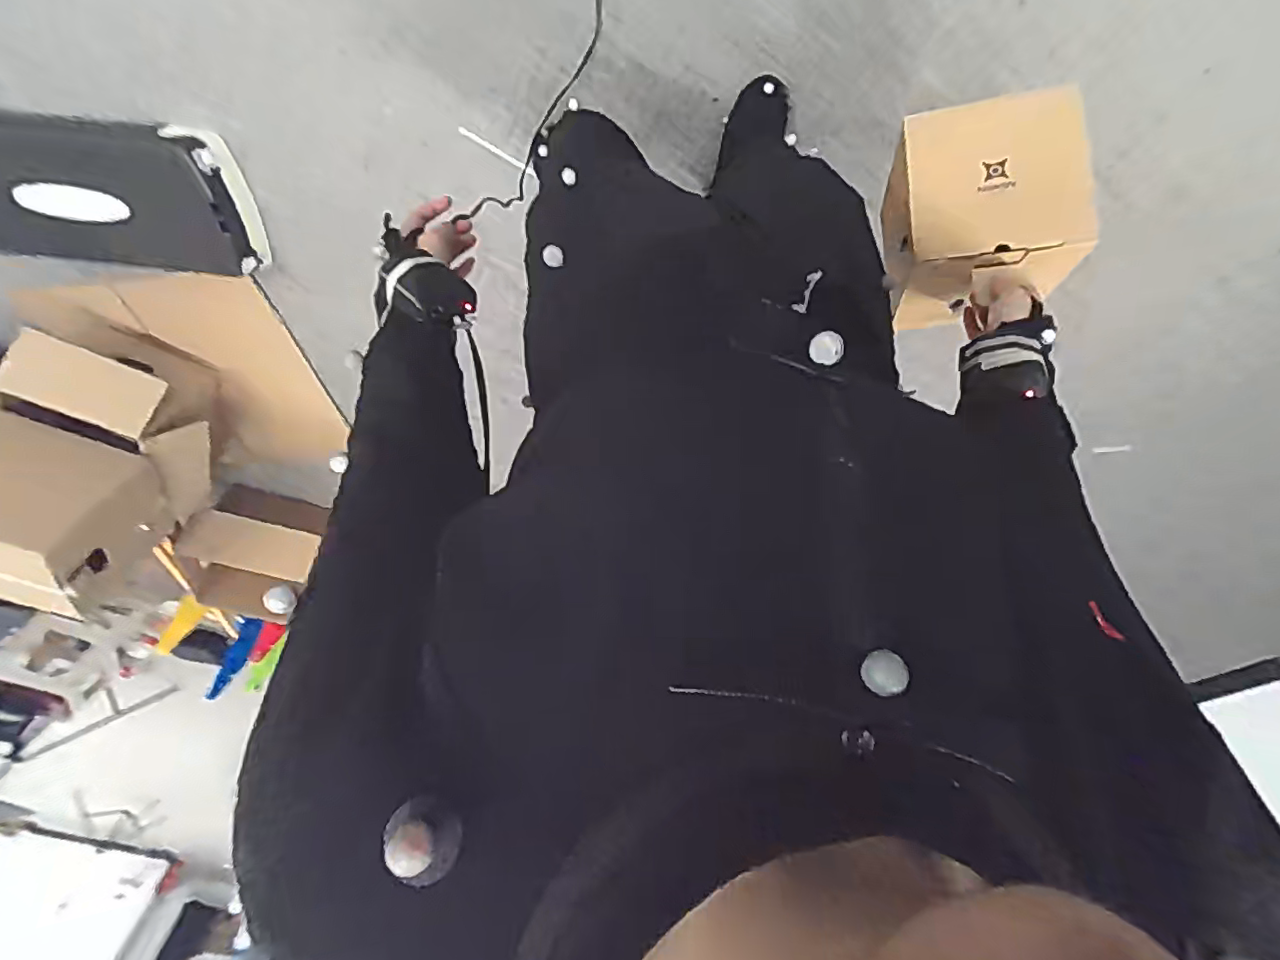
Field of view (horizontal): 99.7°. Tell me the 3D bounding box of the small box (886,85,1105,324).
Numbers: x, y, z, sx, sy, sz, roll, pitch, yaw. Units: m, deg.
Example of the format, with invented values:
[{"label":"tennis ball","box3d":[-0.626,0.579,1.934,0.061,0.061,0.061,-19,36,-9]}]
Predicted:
[{"label":"small box","box3d":[0.393,-0.304,0.633,0.168,0.179,0.176,-2,172,15]}]
